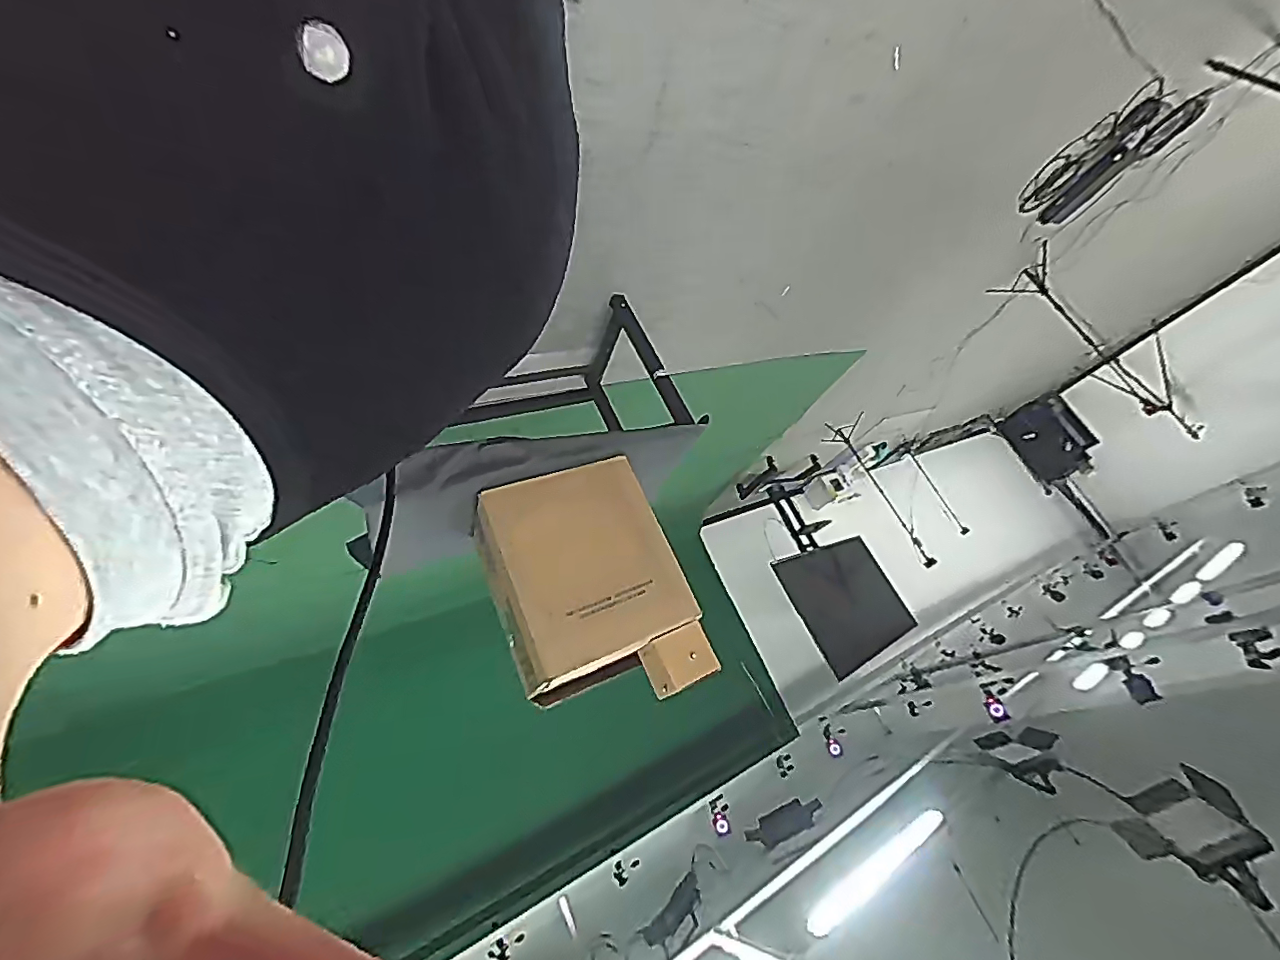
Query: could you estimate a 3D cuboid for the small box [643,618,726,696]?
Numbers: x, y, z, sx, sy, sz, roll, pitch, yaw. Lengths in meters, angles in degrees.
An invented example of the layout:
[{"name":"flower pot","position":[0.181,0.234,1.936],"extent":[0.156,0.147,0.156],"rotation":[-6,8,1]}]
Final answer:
[{"name":"small box","position":[0.138,0.569,1.746],"extent":[0.179,0.176,0.168],"rotation":[-19,158,-28]}]
